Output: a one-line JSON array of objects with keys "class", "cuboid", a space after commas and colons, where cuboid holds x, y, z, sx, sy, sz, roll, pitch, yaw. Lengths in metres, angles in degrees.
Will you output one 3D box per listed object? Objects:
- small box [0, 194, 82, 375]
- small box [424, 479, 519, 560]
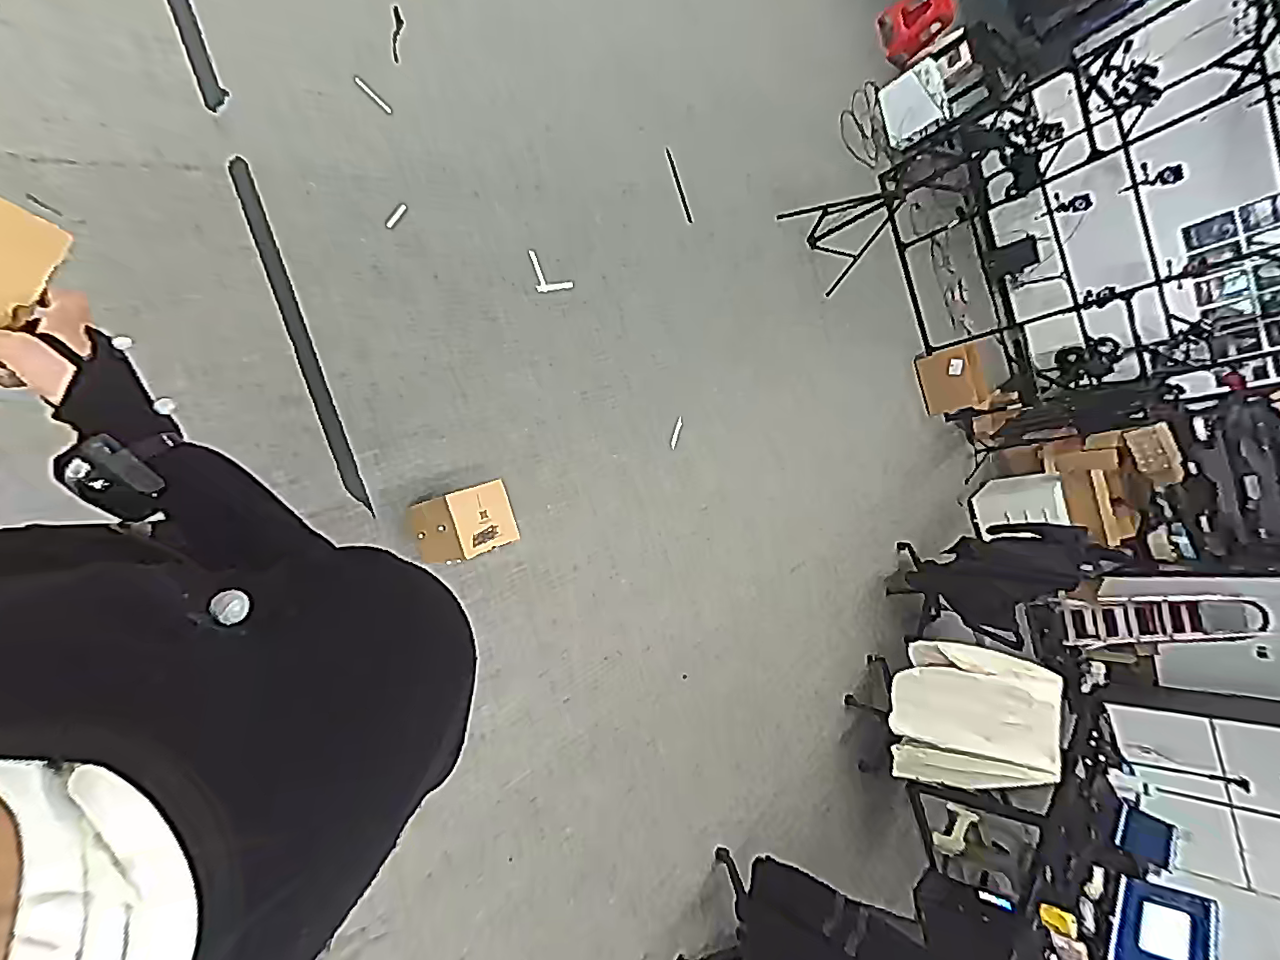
[{"class": "small box", "cuboid": [-0.617, -0.167, 0.429, 0.179, 0.176, 0.168, 33, 64, -52]}, {"class": "small box", "cuboid": [-0.463, 0.110, 1.478, 0.168, 0.176, 0.179, -21, 95, -41]}]
